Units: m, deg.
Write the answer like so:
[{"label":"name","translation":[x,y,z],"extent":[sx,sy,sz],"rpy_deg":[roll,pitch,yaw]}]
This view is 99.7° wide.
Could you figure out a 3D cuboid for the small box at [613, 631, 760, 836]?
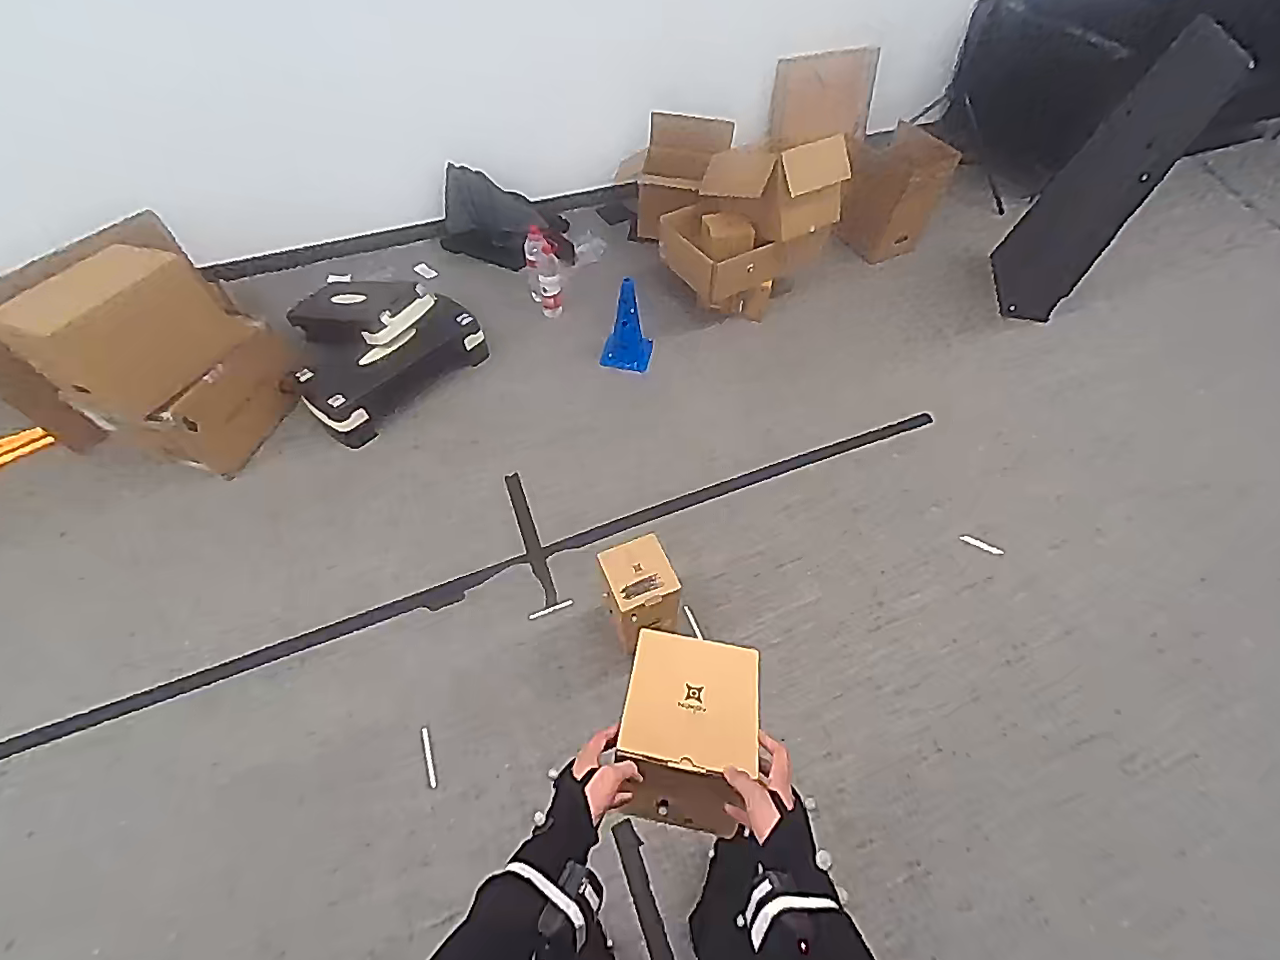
[{"label":"small box","translation":[0.061,0.337,0.725],"extent":[0.168,0.176,0.179],"rpy_deg":[10,40,5]}]

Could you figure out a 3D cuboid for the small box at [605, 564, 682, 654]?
[{"label":"small box","translation":[0.005,0.378,1.572],"extent":[0.168,0.176,0.179],"rpy_deg":[-21,59,-14]}]
